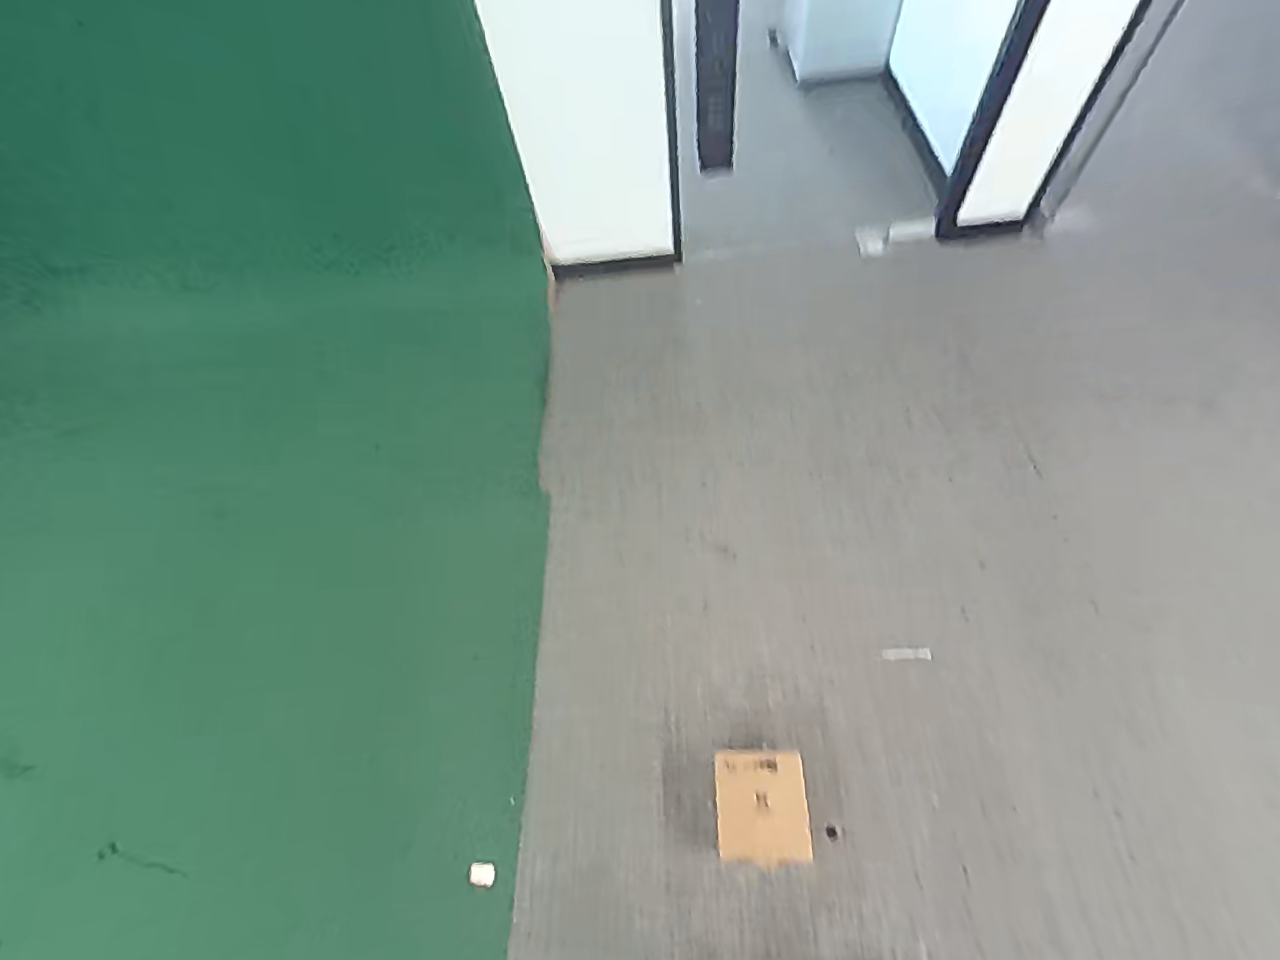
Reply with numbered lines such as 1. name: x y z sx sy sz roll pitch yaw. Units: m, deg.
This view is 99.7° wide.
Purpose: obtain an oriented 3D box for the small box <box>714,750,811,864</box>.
1. small box: 0.231 0.633 1.060 0.168 0.176 0.179 -1 59 6
